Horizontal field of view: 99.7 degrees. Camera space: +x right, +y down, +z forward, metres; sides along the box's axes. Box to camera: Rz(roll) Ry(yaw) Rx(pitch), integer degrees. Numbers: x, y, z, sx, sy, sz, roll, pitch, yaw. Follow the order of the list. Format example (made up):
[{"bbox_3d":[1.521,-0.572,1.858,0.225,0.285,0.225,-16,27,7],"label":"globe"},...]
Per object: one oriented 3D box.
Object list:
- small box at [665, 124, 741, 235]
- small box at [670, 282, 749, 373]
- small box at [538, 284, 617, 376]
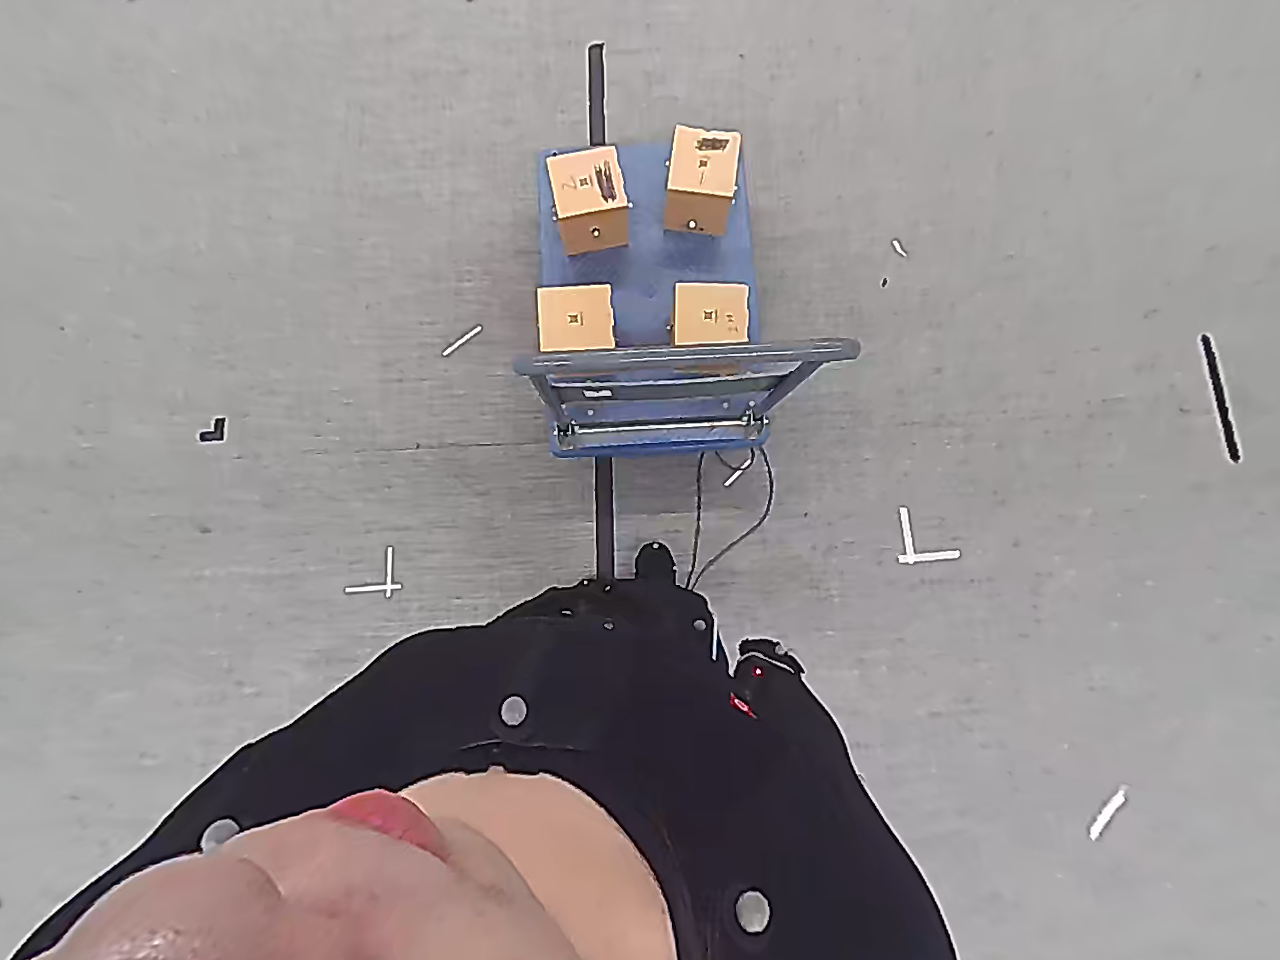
[{"bbox_3d":[0.156,-0.771,1.399,0.168,0.176,0.179,8,83,1],"label":"small box"},{"bbox_3d":[0.168,-0.373,1.344,0.179,0.176,0.168,2,82,0],"label":"small box"},{"bbox_3d":[-0.150,-0.365,1.339,0.179,0.176,0.168,-4,82,-3],"label":"small box"}]
